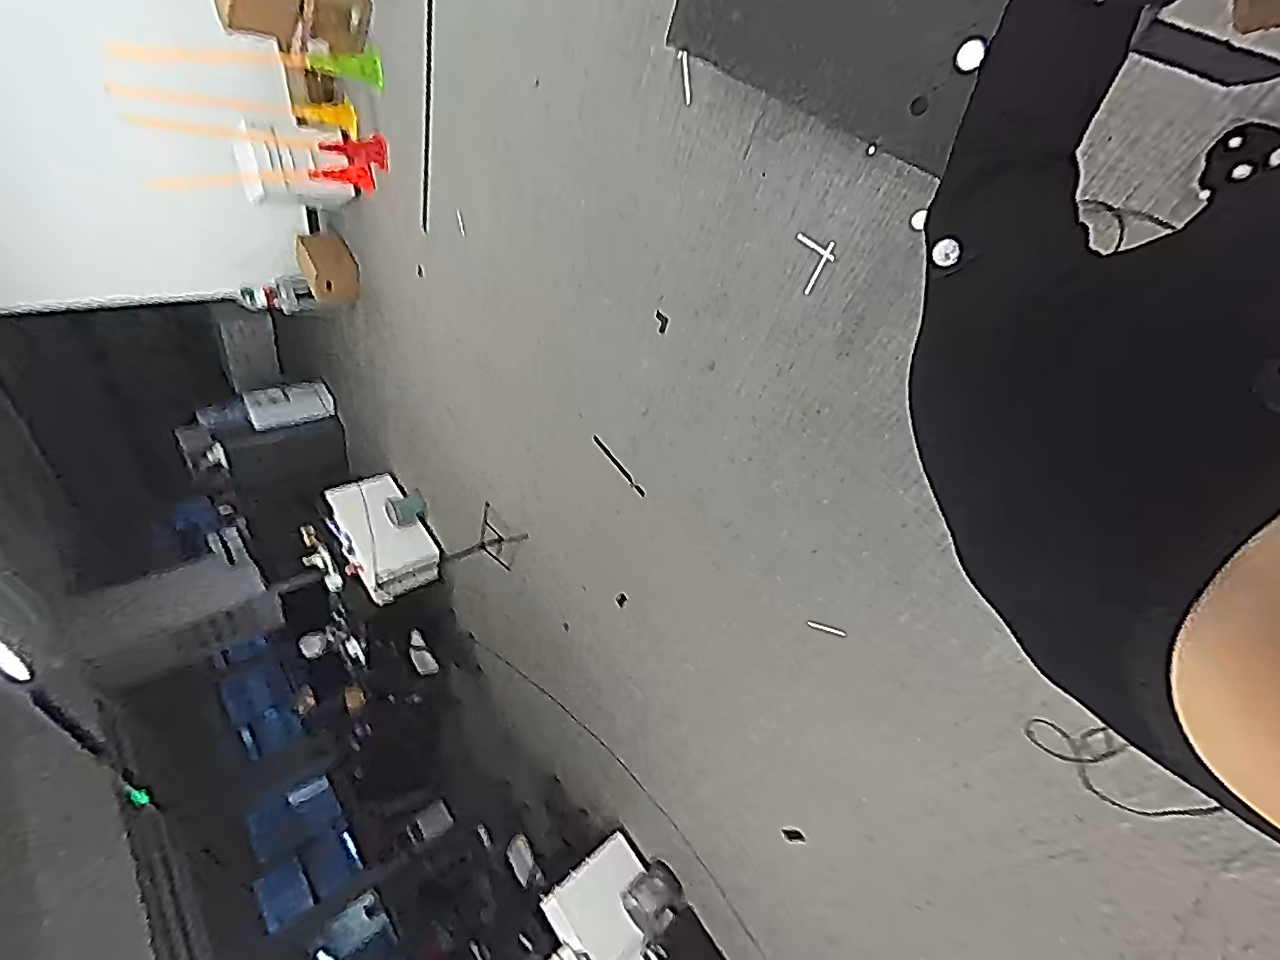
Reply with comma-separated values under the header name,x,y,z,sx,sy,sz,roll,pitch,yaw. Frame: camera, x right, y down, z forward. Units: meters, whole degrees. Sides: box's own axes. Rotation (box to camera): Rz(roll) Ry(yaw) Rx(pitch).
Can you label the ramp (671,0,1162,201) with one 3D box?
name,x,y,z,sx,sy,sz,roll,pitch,yaw
ramp,0.524,-1.077,1.175,0.991,0.206,0.509,46,136,25
